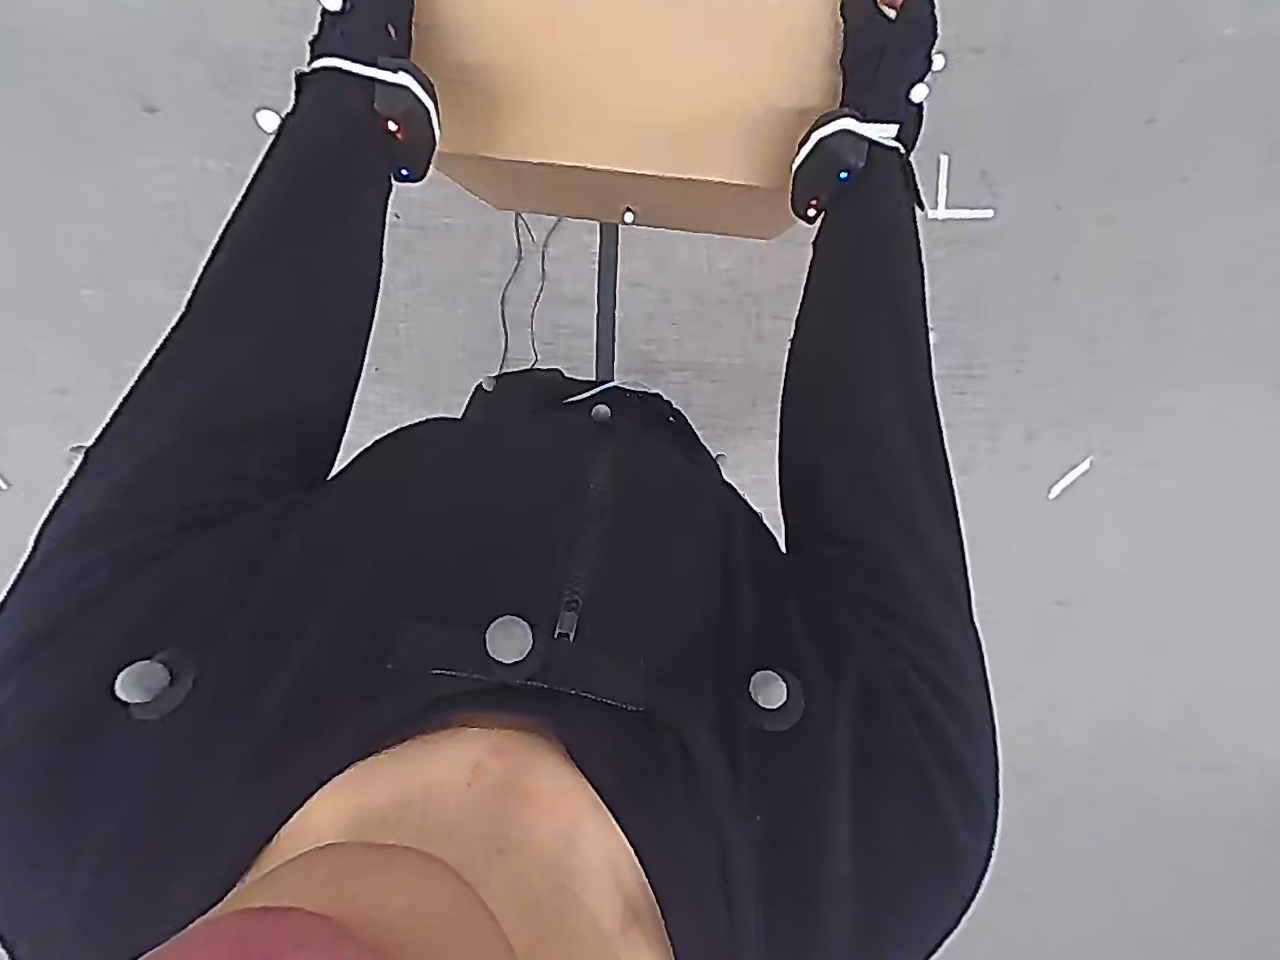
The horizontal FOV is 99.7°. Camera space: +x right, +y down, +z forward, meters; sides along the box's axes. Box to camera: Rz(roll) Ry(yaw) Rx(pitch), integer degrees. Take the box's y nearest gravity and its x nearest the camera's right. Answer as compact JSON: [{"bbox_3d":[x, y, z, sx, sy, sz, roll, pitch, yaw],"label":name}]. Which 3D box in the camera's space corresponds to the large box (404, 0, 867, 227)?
[{"bbox_3d":[0.003,-0.477,0.596,0.408,0.320,0.320,5,106,0],"label":"large box"}]
